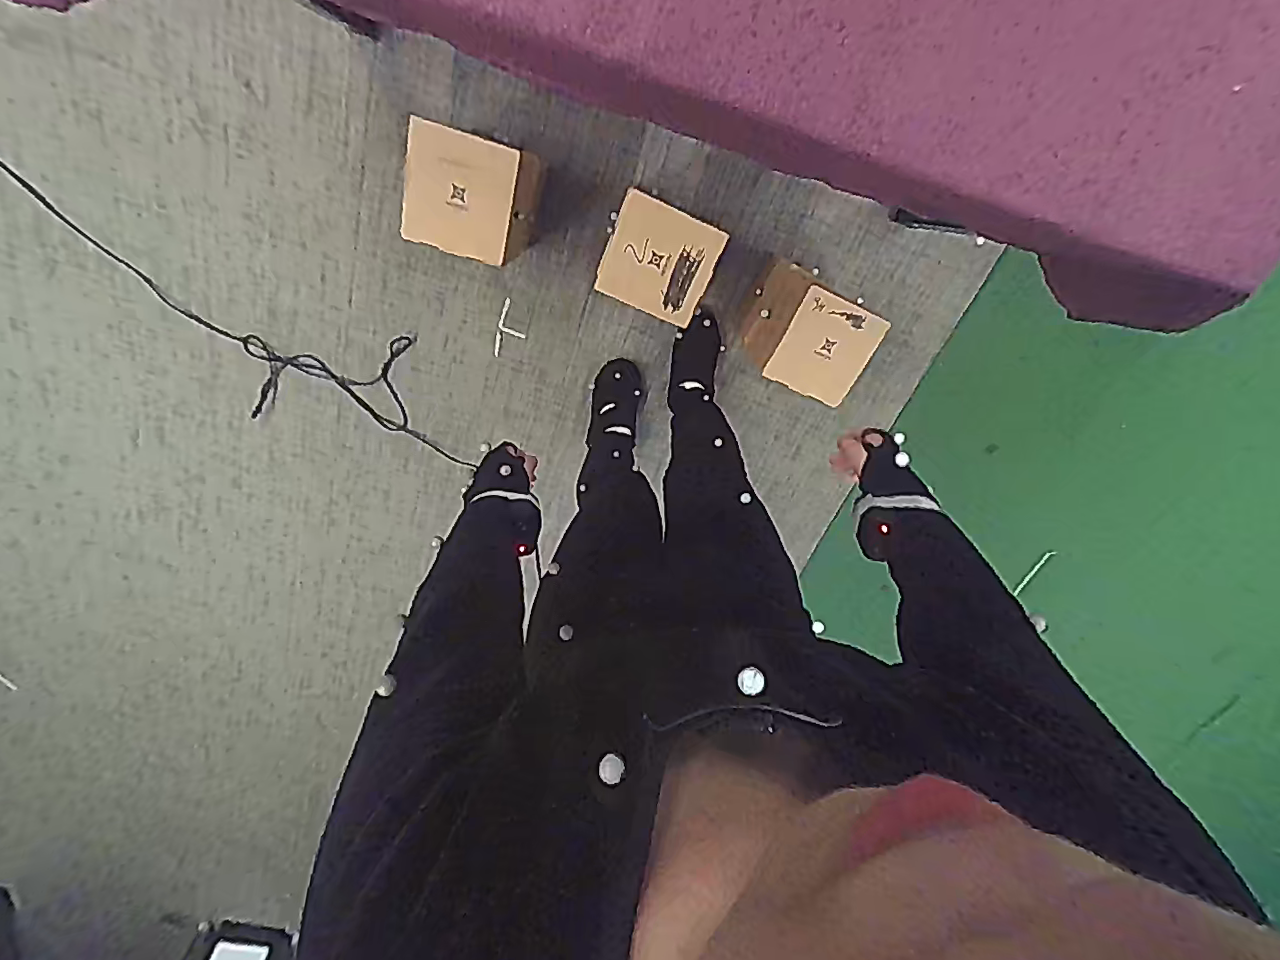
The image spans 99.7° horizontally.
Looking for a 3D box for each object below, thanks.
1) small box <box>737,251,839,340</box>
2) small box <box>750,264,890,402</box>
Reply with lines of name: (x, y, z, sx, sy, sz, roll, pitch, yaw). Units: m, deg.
small box: (0.324, -0.367, 1.162, 0.168, 0.176, 0.179, 25, 115, -14)
small box: (0.324, -0.280, 1.020, 0.168, 0.176, 0.179, 21, 118, -13)
